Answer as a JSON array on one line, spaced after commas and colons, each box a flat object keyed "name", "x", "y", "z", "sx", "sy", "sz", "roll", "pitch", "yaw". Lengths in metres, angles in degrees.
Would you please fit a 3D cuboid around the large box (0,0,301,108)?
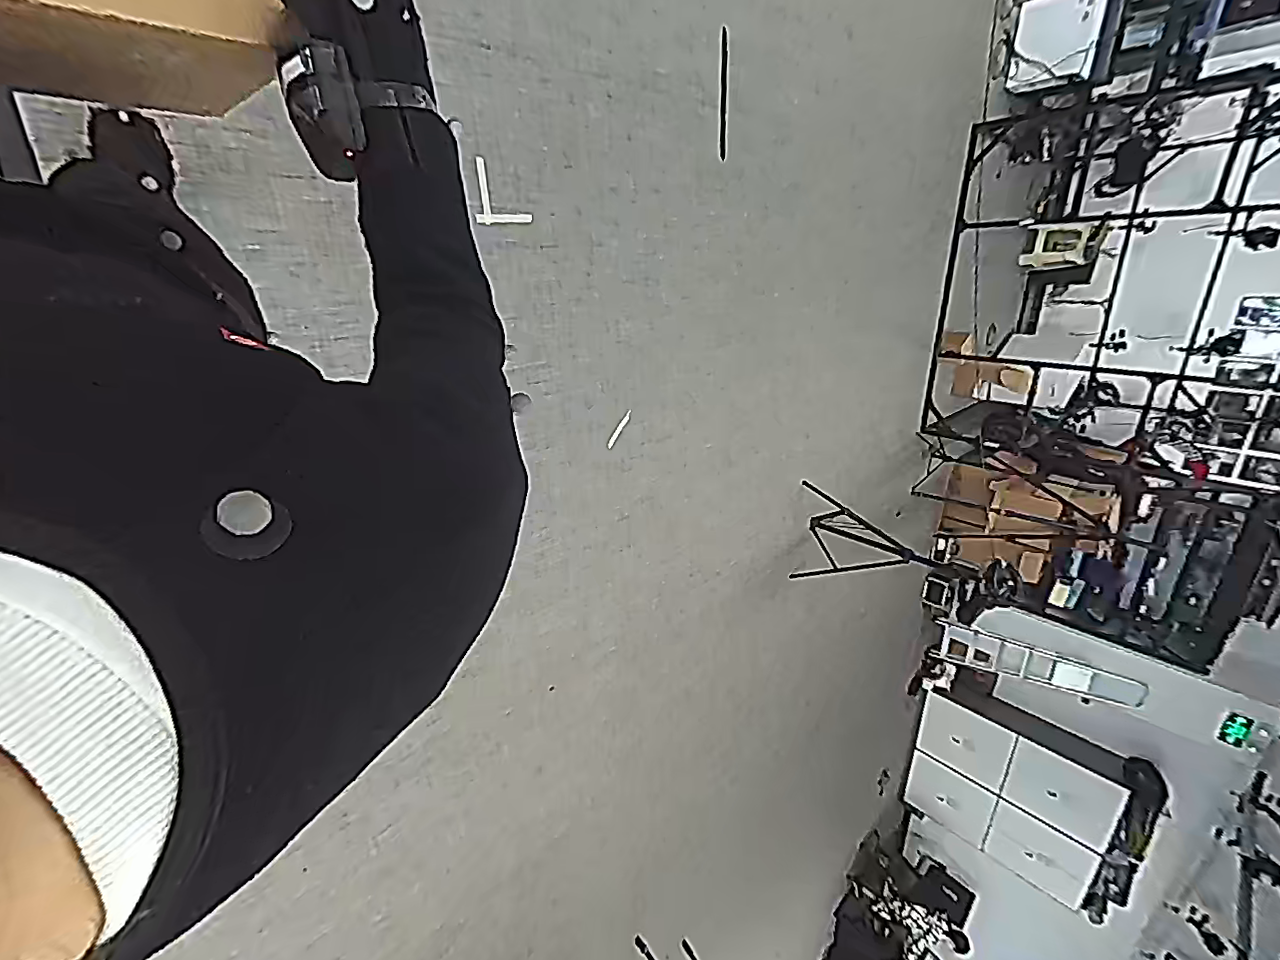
[{"name": "large box", "x": -0.464, "y": -0.407, "z": 0.259, "sx": 0.408, "sy": 0.320, "sz": 0.320, "roll": -21, "pitch": 124, "yaw": -40}]
